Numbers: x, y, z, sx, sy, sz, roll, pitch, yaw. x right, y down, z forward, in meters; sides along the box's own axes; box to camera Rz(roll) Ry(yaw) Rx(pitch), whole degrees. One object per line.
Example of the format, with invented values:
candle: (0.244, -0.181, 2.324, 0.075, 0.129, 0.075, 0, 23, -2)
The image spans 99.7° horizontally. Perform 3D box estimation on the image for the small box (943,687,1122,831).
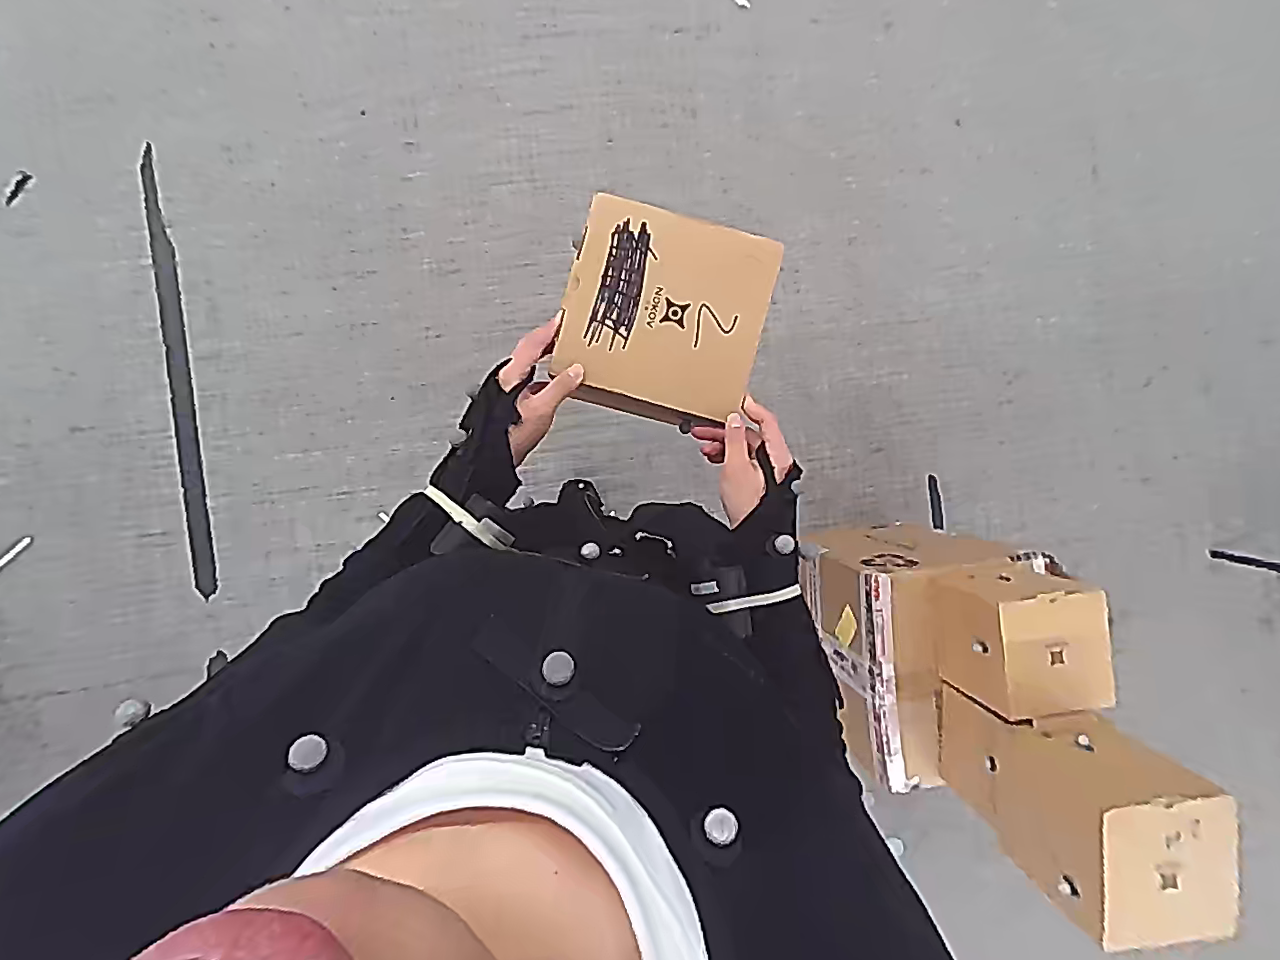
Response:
small box: (0.609, 0.443, 0.859, 0.168, 0.176, 0.179, 0, 93, -4)

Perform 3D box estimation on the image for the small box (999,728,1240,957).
small box: (0.596, 0.448, 0.693, 0.168, 0.176, 0.179, -3, 93, -4)
